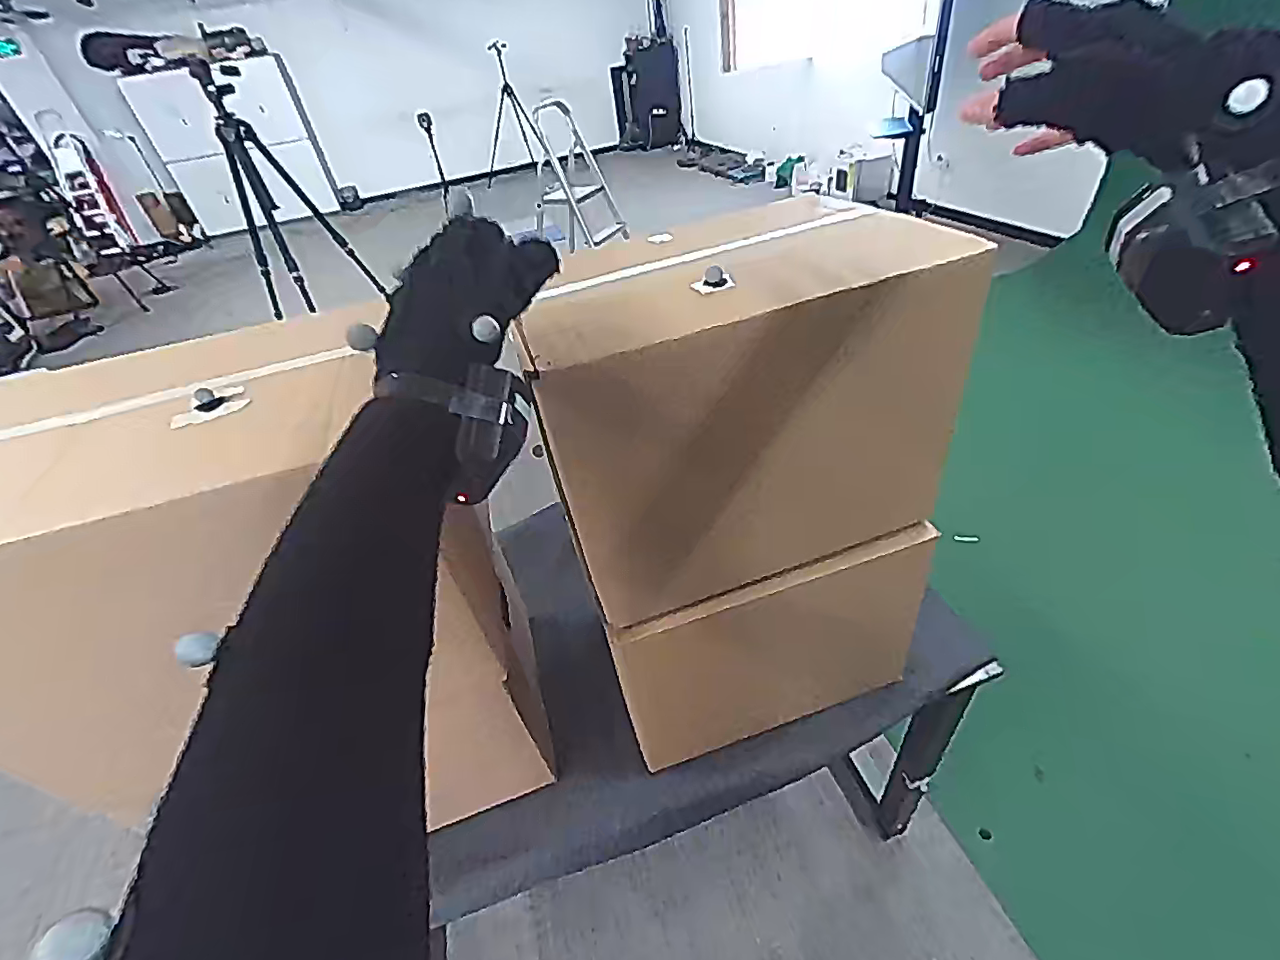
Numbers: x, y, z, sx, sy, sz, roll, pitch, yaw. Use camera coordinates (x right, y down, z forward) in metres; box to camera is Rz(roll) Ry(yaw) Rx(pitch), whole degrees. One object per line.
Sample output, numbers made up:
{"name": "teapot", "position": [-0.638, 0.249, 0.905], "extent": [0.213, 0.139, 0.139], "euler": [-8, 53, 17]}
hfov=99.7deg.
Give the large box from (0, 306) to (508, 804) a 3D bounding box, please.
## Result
{"name": "large box", "position": [-0.386, 0.057, 0.562], "extent": [0.408, 0.320, 0.320], "euler": [-15, 41, -9]}
